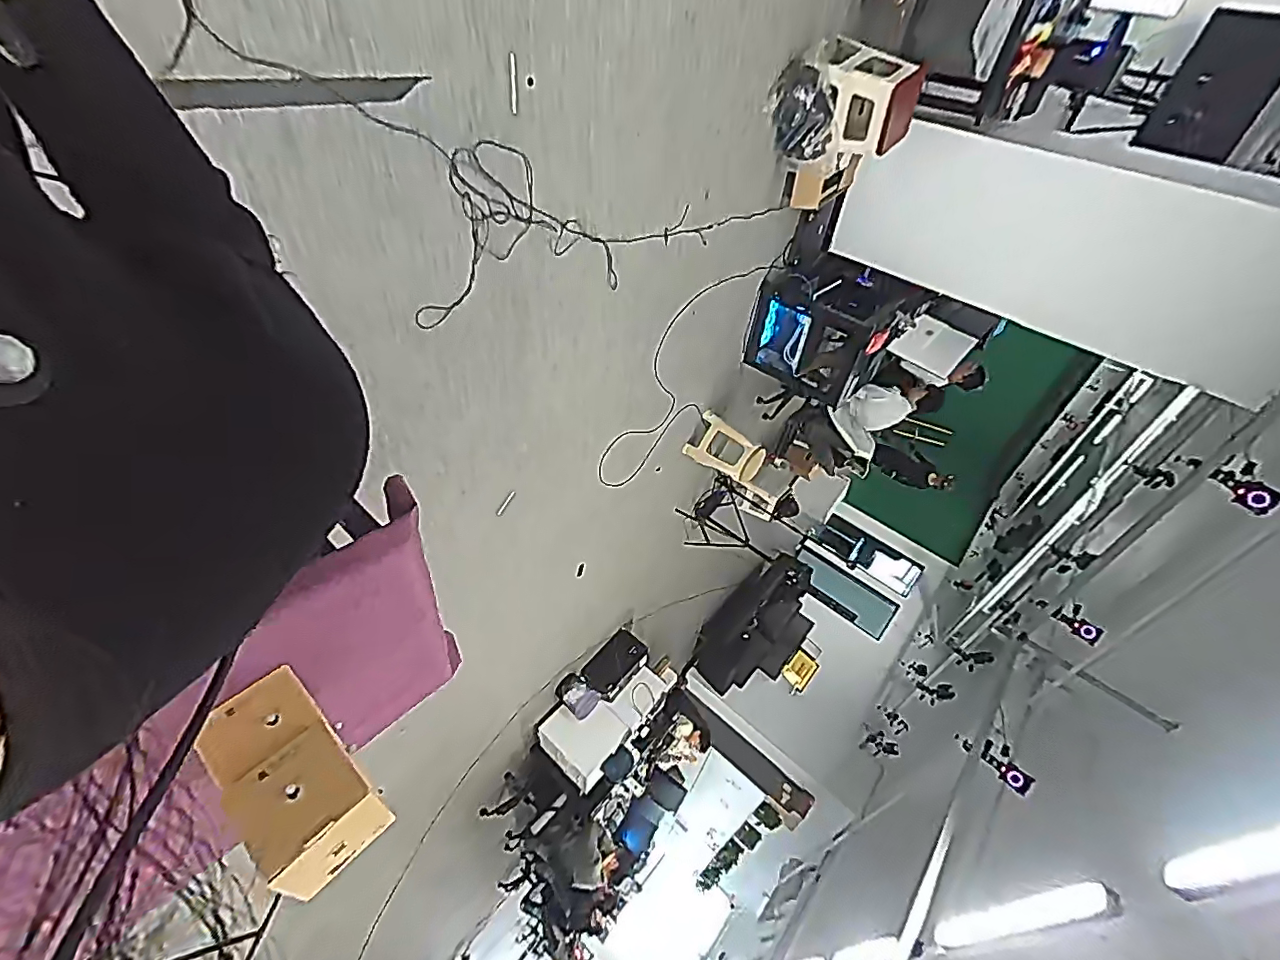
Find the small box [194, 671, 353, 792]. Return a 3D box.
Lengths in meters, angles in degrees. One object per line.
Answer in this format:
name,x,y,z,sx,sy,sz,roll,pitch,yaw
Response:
small box,-0.678,0.489,1.008,0.168,0.176,0.179,-37,149,-36

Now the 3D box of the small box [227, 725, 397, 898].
small box,-0.553,0.555,0.921,0.168,0.176,0.179,-37,149,-34
